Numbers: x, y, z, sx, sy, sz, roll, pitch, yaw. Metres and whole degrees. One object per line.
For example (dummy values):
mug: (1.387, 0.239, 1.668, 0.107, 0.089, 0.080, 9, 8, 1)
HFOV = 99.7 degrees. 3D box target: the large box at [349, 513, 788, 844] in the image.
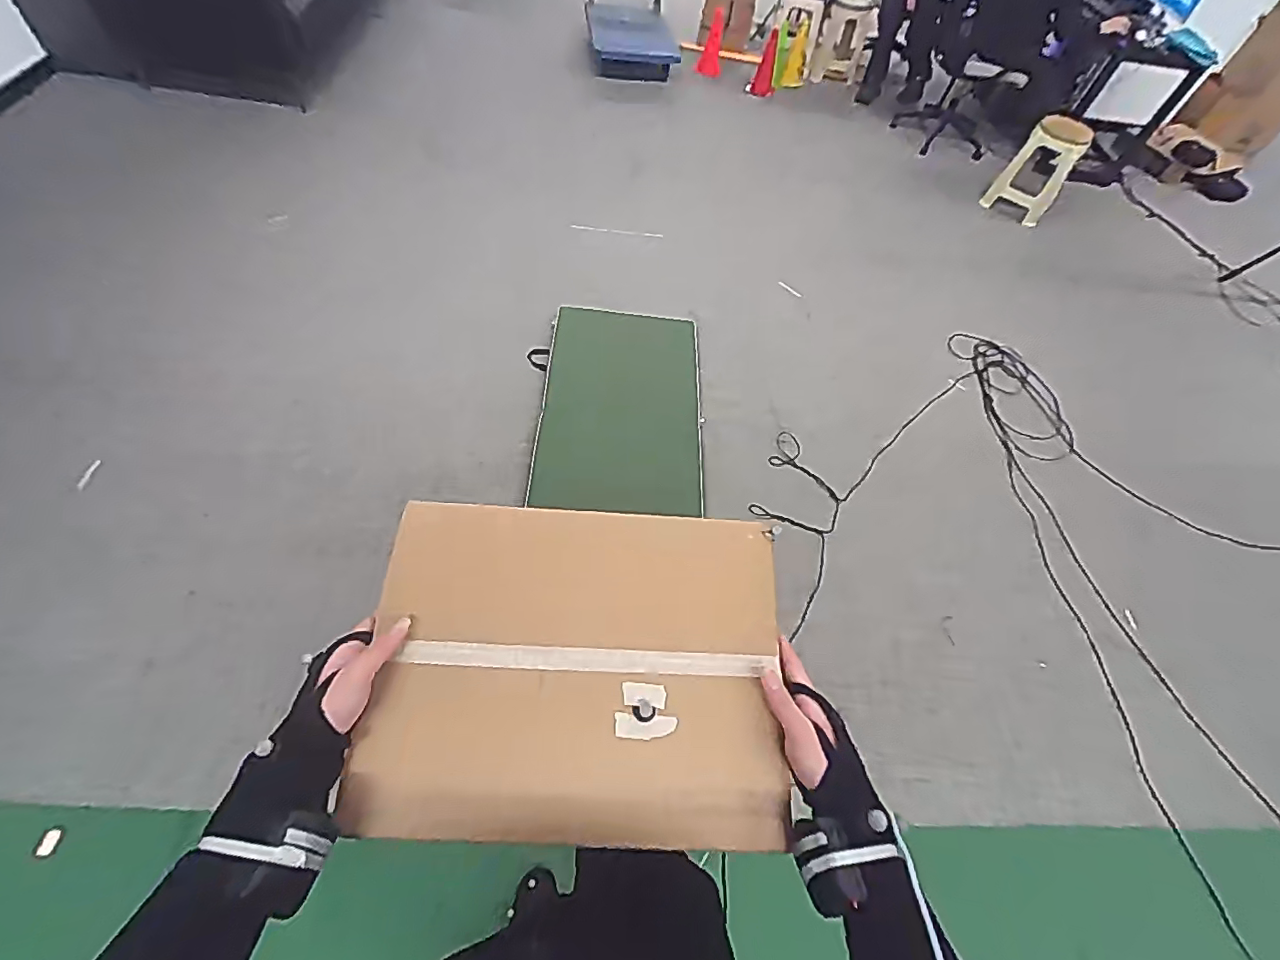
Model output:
large box: (-0.069, 0.250, 0.682, 0.408, 0.320, 0.320, 4, 65, -3)
